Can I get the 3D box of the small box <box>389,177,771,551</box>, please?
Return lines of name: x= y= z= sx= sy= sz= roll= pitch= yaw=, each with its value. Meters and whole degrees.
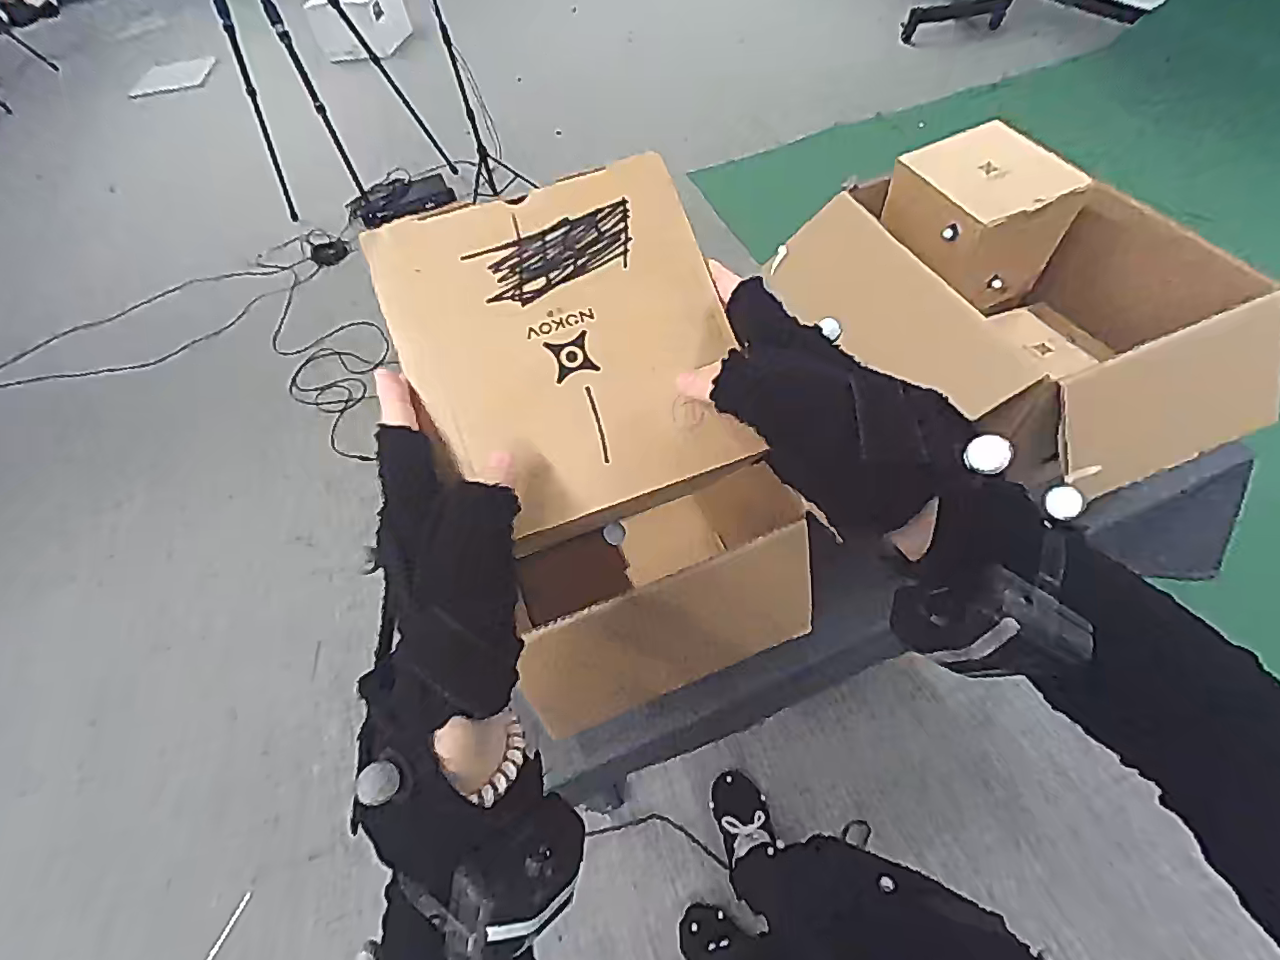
small box: x=-0.040 y=-0.058 z=0.367 sx=0.168 sy=0.176 sz=0.179 roll=-18 pitch=84 yaw=-8
